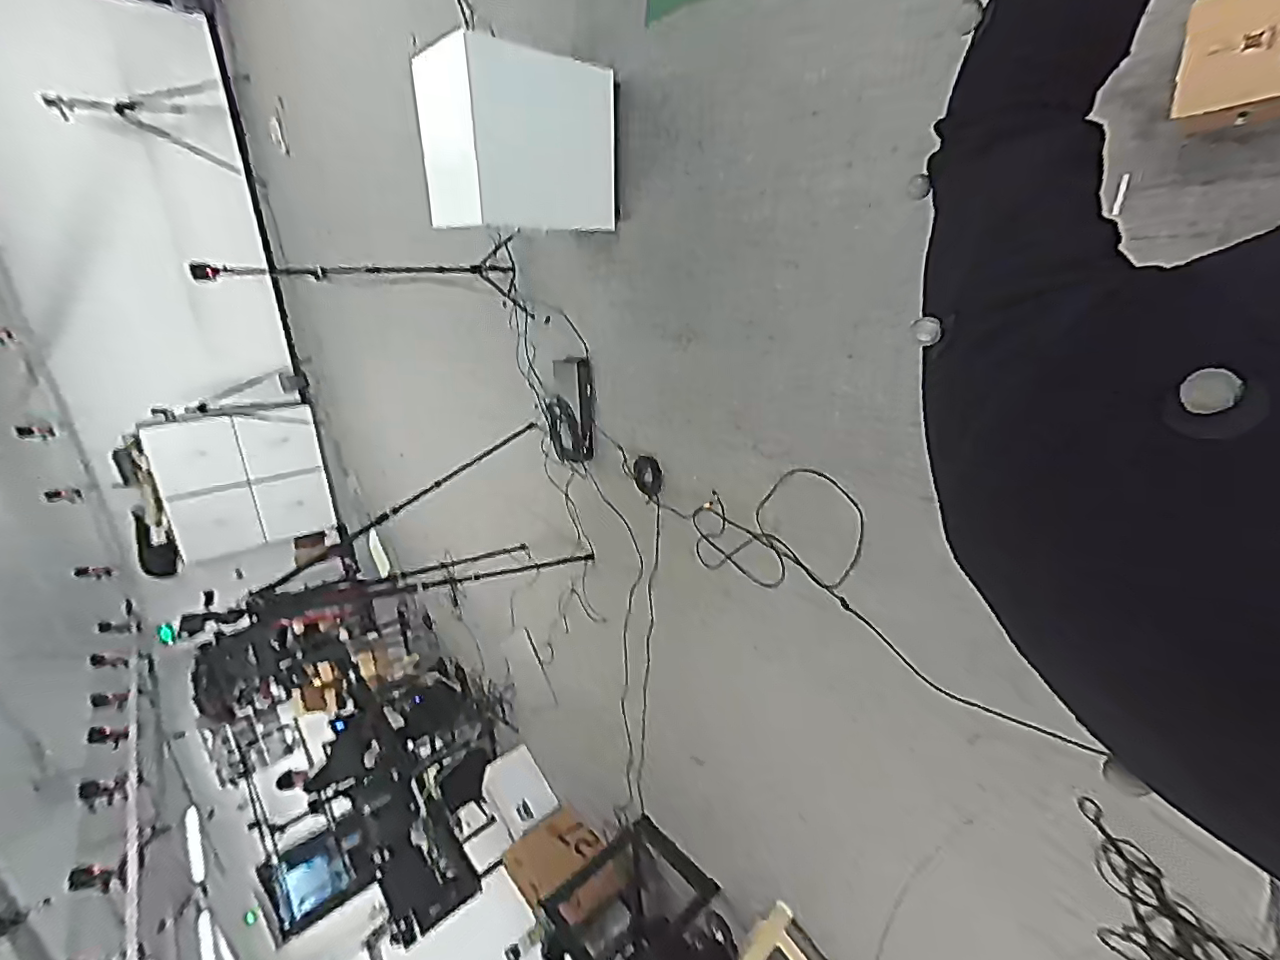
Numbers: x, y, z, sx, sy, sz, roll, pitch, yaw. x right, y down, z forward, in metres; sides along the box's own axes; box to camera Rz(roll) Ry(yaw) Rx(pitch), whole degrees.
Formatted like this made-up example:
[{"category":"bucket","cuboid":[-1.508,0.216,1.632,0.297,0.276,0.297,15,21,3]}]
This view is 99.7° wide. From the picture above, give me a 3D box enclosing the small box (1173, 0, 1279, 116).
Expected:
[{"category":"small box","cuboid":[0.982,-0.697,0.846,0.179,0.176,0.168,15,116,47]}]
